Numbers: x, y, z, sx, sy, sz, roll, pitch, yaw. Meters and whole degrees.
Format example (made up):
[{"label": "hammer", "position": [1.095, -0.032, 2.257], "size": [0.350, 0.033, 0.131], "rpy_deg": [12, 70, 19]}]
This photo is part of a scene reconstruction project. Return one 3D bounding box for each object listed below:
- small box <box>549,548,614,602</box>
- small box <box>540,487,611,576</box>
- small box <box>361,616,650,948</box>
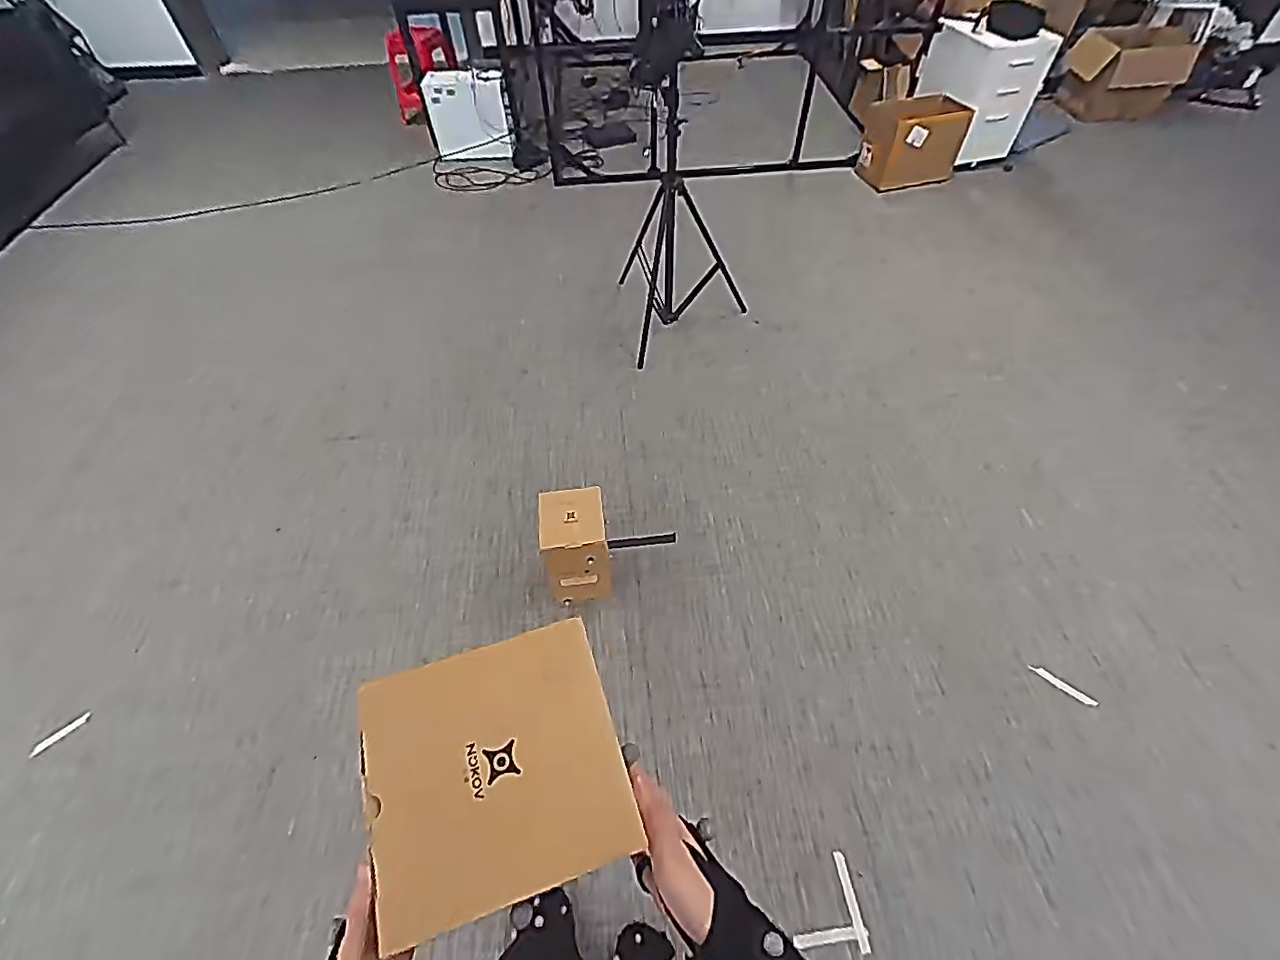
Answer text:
[{"label": "small box", "position": [-0.169, 0.244, 1.573], "size": [0.168, 0.176, 0.179], "rpy_deg": [-7, 53, -3]}, {"label": "small box", "position": [-0.171, 0.145, 1.443], "size": [0.168, 0.176, 0.179], "rpy_deg": [-6, 53, -4]}, {"label": "small box", "position": [-0.103, 0.235, 0.451], "size": [0.179, 0.176, 0.168], "rpy_deg": [-16, 62, -11]}]
